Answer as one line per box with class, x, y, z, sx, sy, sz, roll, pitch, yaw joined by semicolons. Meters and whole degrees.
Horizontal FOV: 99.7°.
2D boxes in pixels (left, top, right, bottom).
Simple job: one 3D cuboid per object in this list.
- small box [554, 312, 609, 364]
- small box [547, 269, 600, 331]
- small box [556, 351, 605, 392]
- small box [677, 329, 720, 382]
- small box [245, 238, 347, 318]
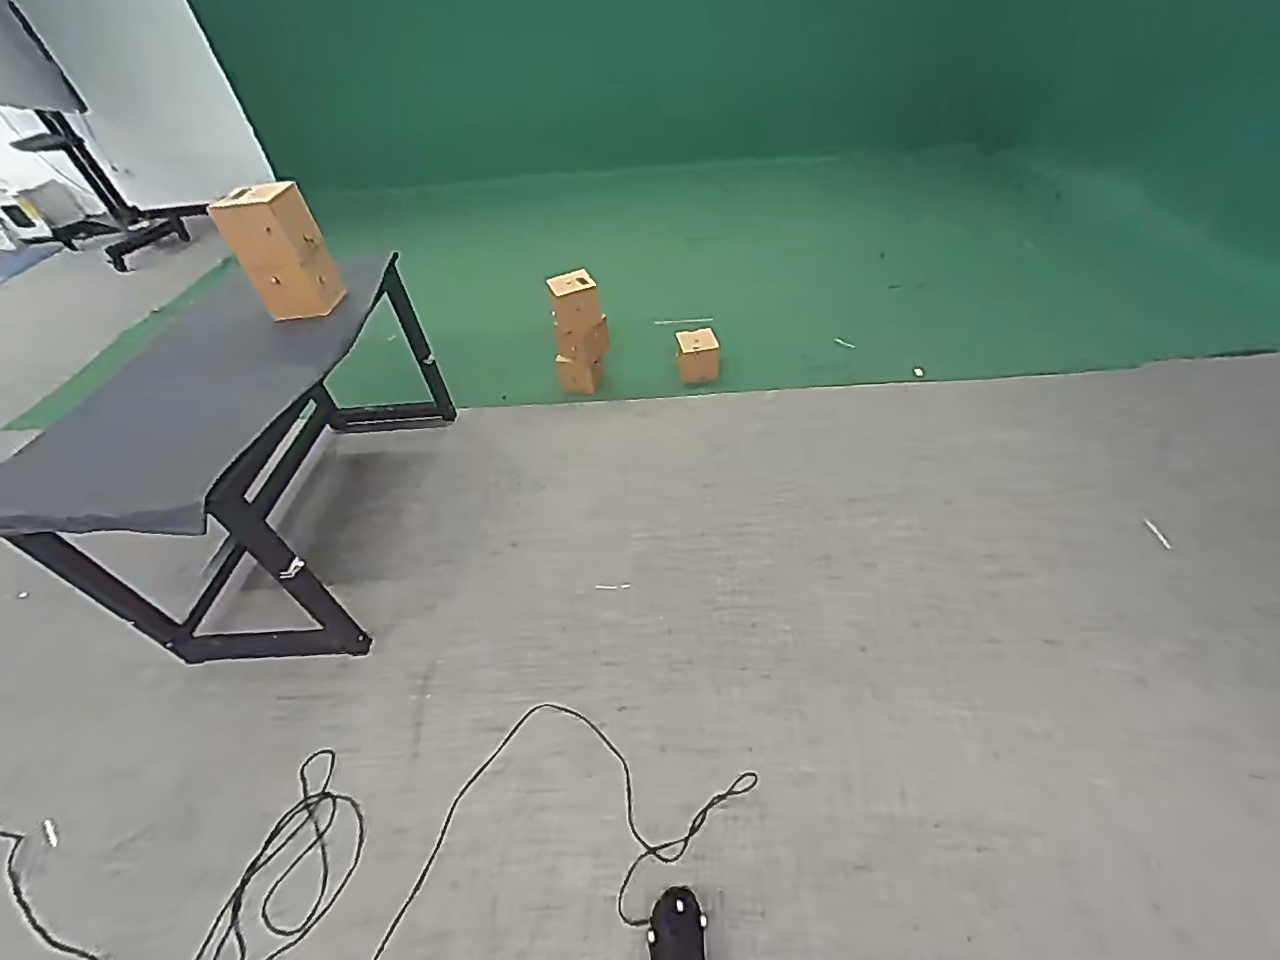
small box;-0.251;-0.637;2.381;0.168;0.176;0.179;28;54;27
small box;-0.272;-0.751;2.264;0.179;0.176;0.168;-20;48;-12
small box;-0.270;-0.527;2.503;0.168;0.176;0.179;9;48;14
small box;0.264;-0.573;2.491;0.168;0.176;0.179;-9;45;-4
small box;-1.037;-0.613;1.648;0.179;0.176;0.168;-4;46;4
